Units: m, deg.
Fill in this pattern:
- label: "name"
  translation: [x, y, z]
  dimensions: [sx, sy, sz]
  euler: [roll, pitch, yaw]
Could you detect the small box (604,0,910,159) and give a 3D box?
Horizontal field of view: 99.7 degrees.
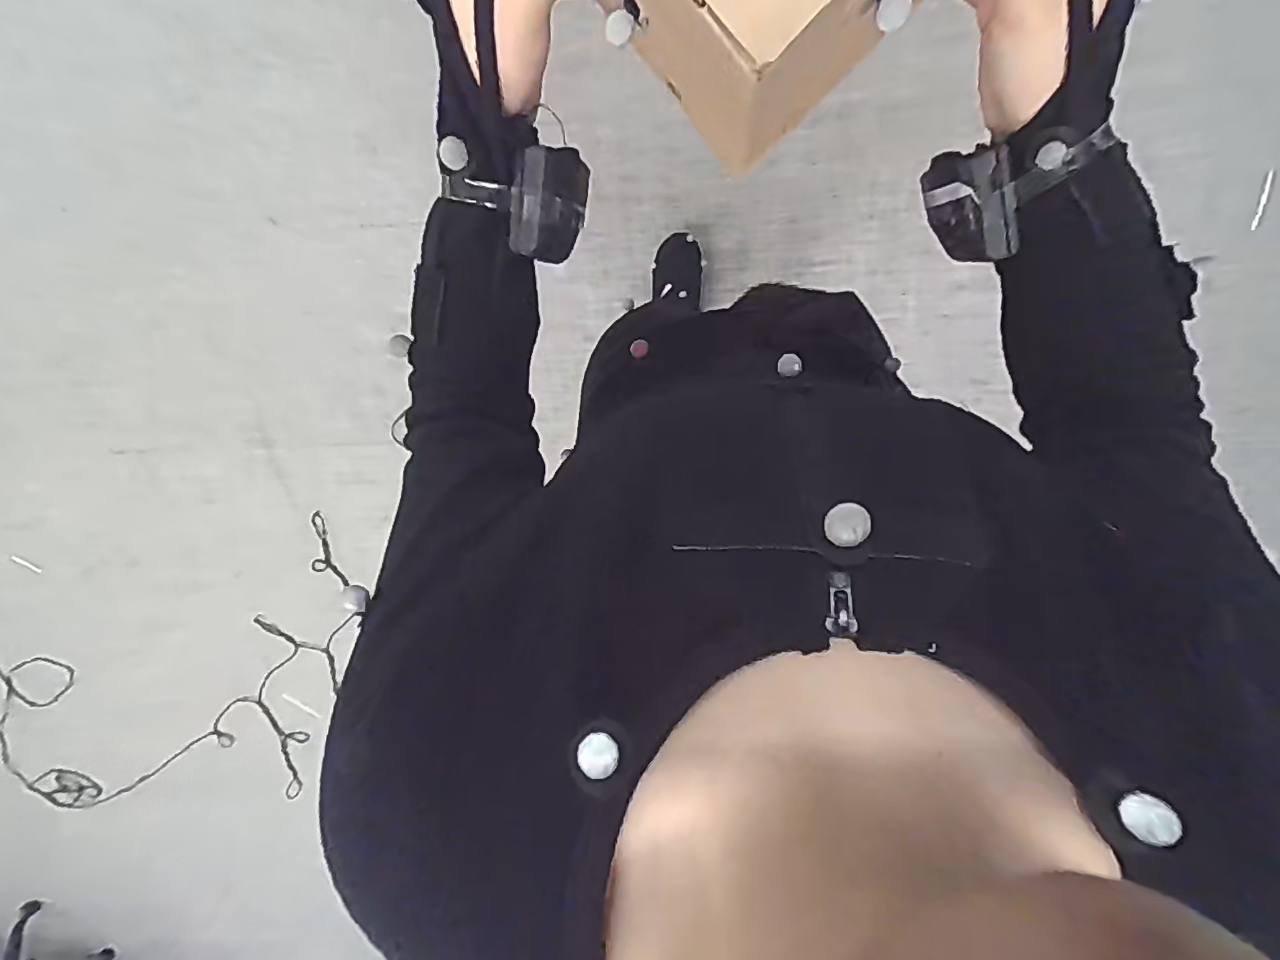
- label: "small box"
  translation: [0.057, -0.278, 0.229]
  dimensions: [0.179, 0.176, 0.168]
  euler: [-40, 99, 19]
